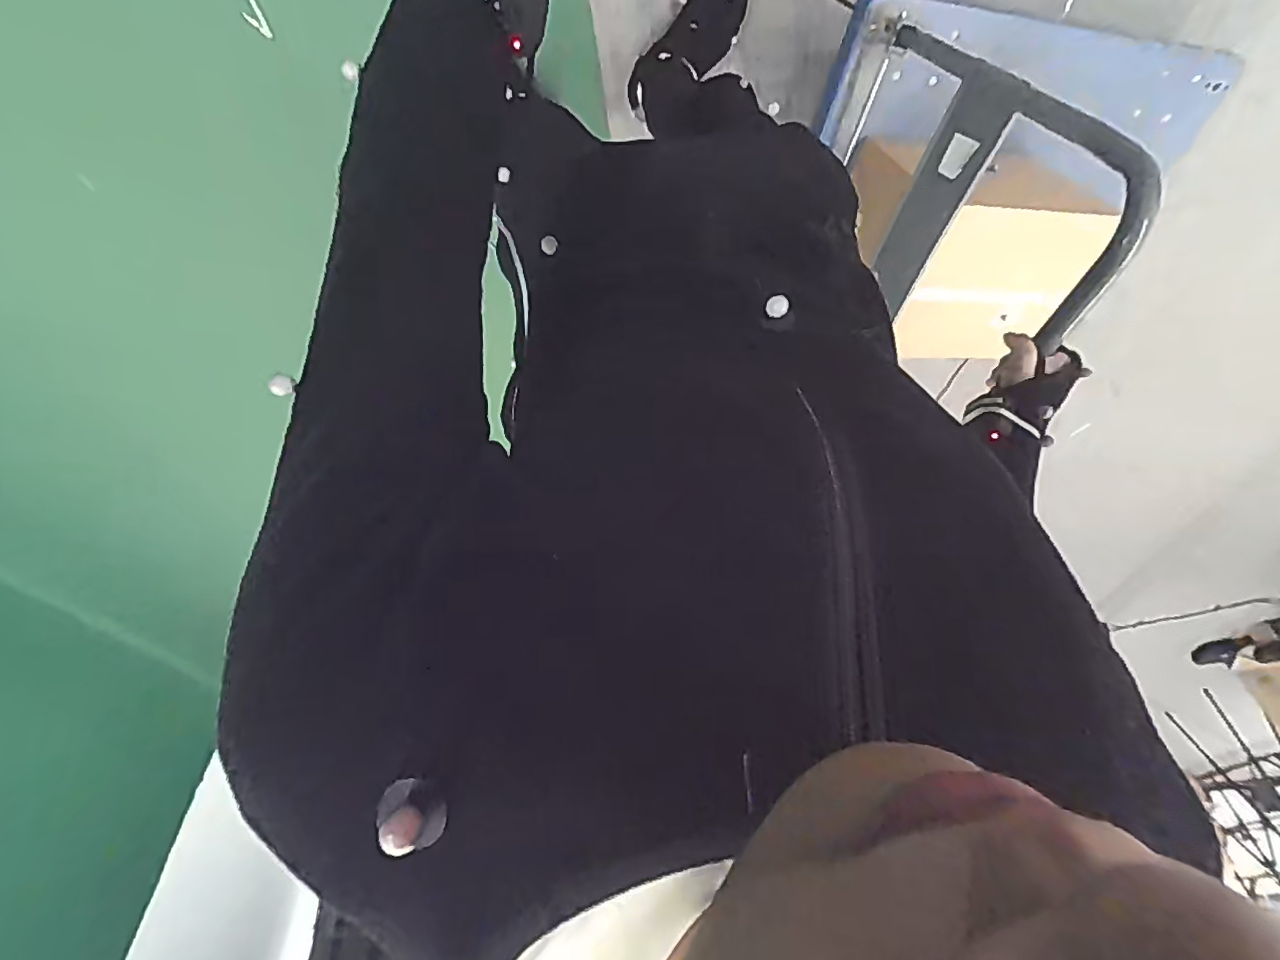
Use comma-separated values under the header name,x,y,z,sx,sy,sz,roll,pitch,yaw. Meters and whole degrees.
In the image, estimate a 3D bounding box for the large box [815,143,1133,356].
name,x,y,z,sx,sy,sz,roll,pitch,yaw
large box,0.653,-0.481,1.140,0.408,0.320,0.320,-3,140,-12
